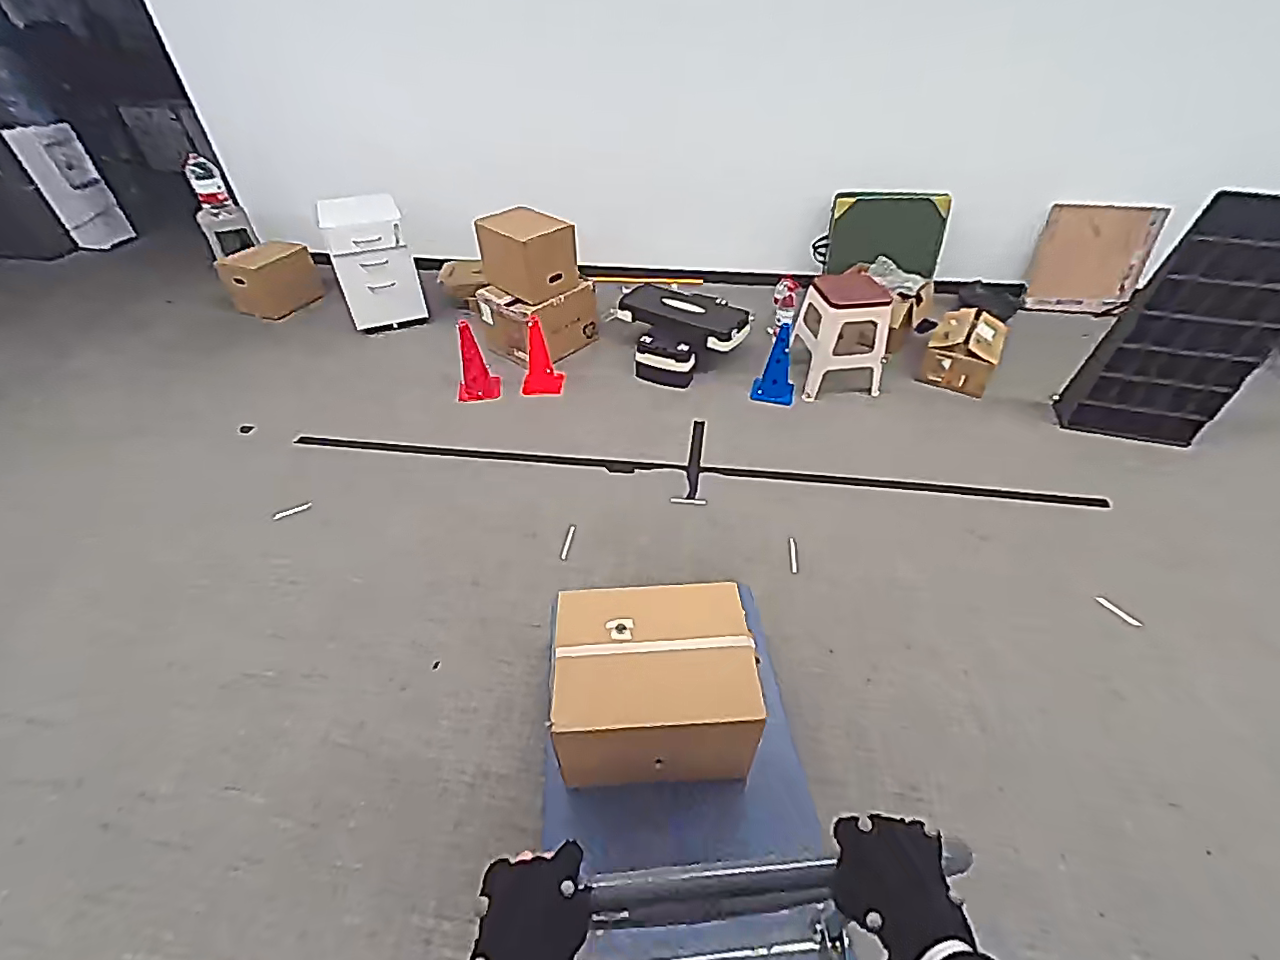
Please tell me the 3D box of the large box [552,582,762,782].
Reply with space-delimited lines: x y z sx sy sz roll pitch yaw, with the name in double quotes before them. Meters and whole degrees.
"large box" 0.030 0.459 1.223 0.408 0.320 0.320 -3 43 -1
